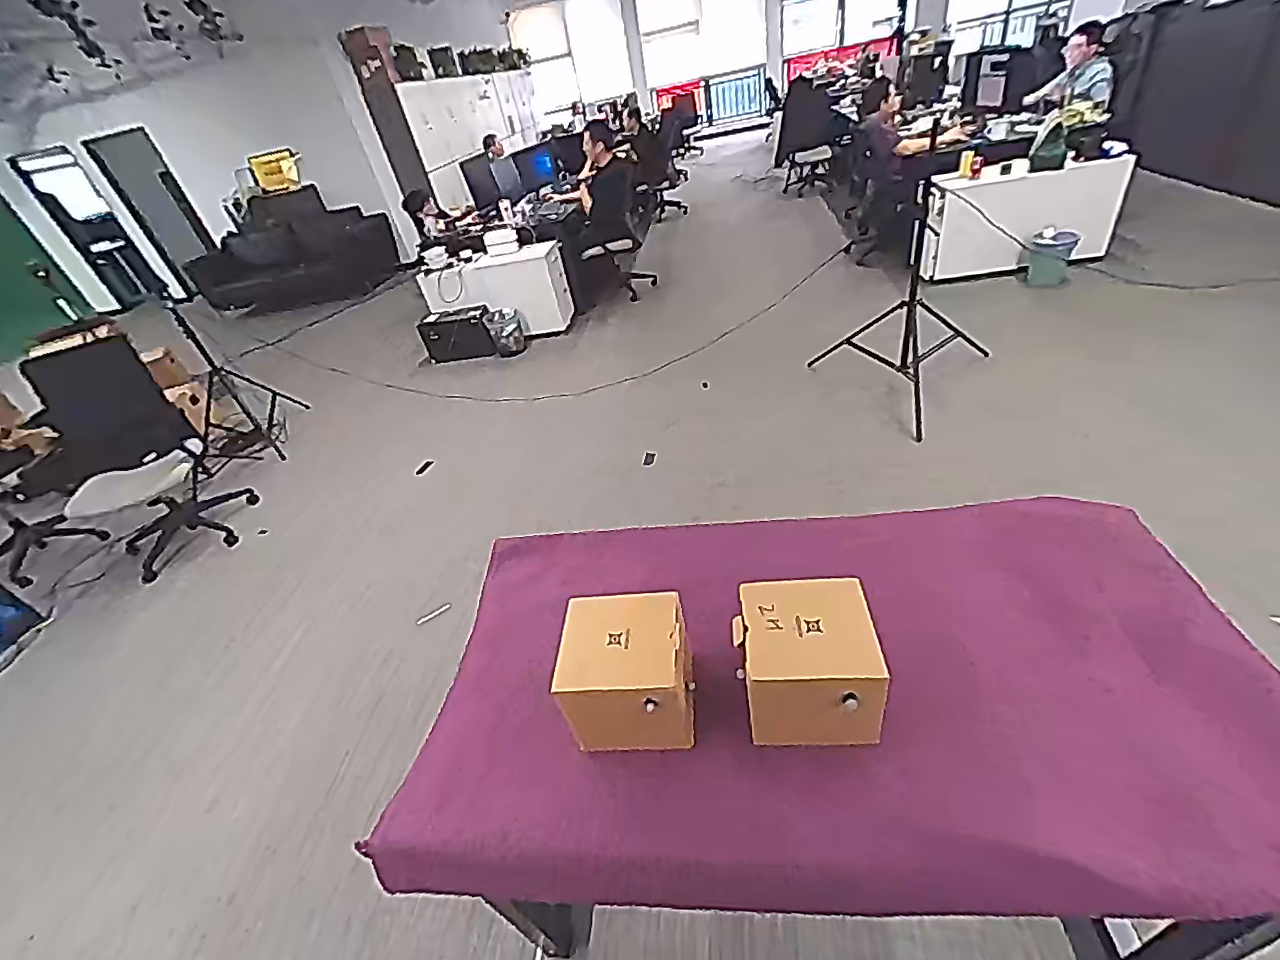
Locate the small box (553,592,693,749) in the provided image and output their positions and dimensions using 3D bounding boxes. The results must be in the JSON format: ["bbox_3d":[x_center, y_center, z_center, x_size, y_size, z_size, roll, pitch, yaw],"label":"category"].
[{"bbox_3d":[-0.016,0.296,0.833,0.179,0.176,0.168,-6,37,8],"label":"small box"}]

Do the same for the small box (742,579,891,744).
[{"bbox_3d":[0.246,0.266,0.790,0.179,0.176,0.168,-6,36,10],"label":"small box"}]
